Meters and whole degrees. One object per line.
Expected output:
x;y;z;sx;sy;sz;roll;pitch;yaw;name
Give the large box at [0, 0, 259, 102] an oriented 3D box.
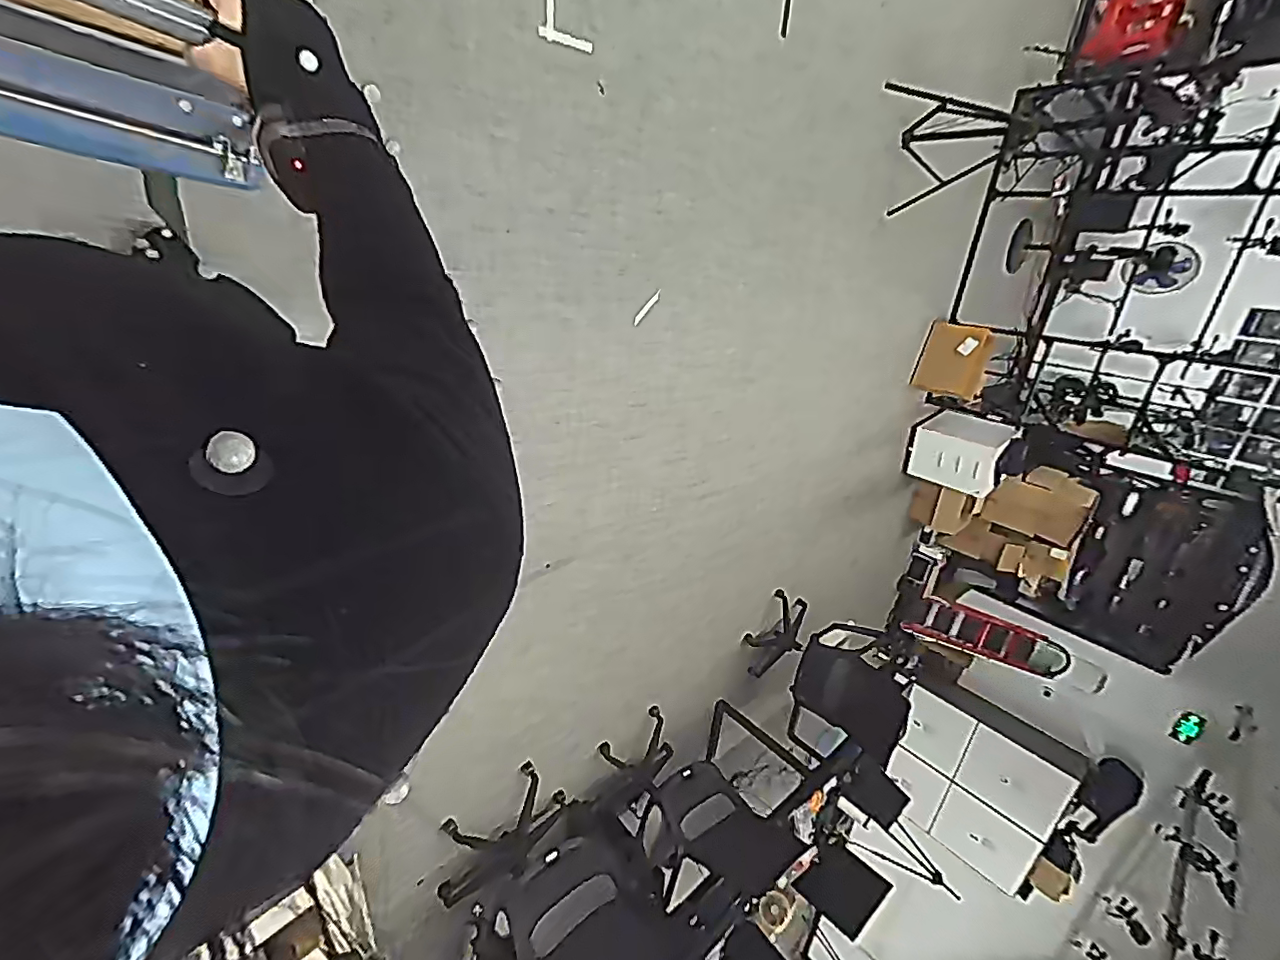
-0.749;-0.715;0.653;0.408;0.320;0.320;-11;117;-43;large box
